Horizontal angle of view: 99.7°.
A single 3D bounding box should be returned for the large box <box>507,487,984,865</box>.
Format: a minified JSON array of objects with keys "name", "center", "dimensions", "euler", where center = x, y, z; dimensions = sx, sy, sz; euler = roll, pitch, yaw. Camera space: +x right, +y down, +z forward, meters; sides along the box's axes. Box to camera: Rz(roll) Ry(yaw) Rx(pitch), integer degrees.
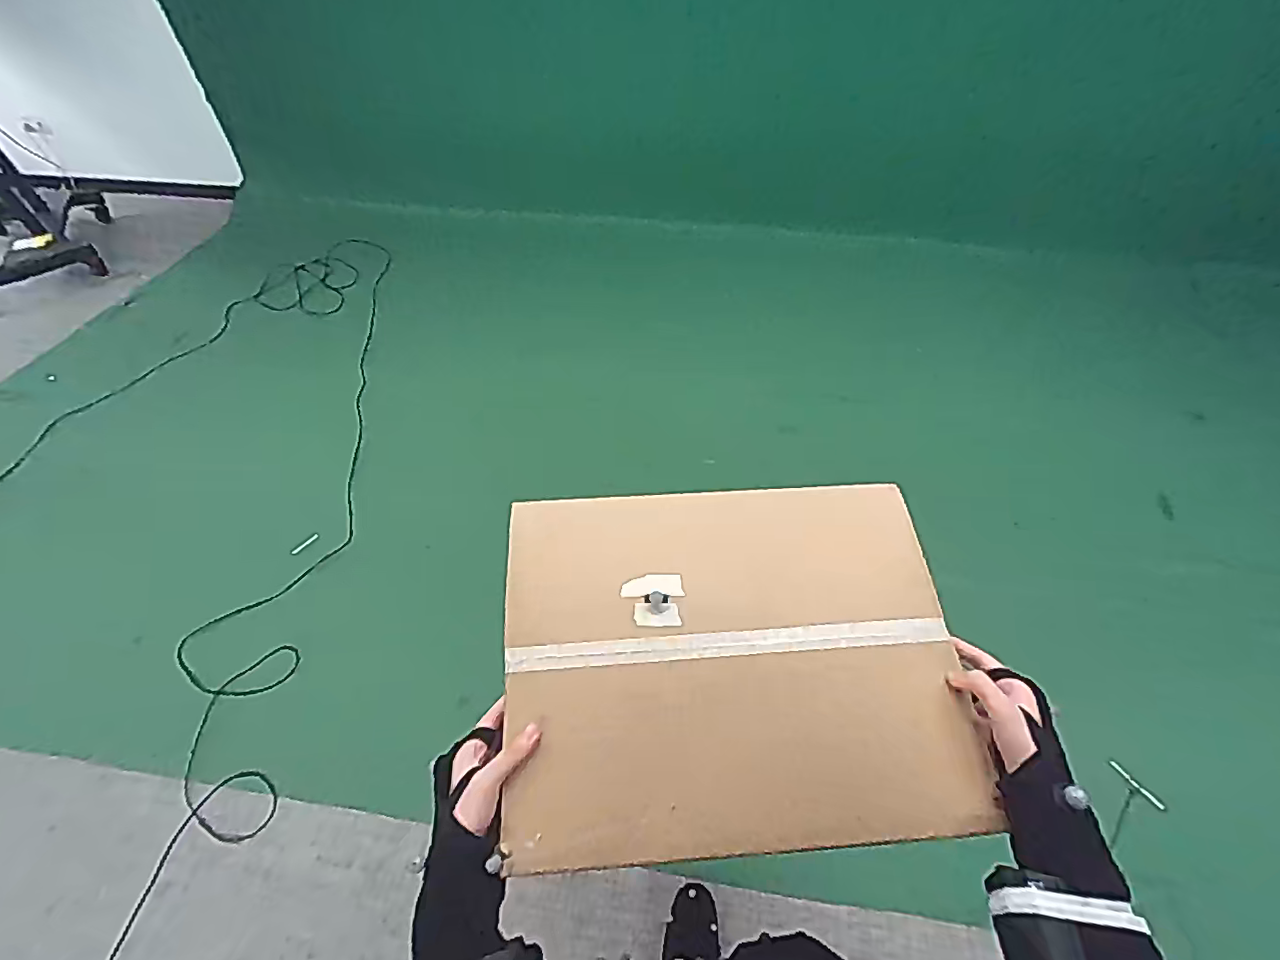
[{"name":"large box","center":[0.080,0.223,0.638],"dimensions":[0.408,0.320,0.320],"euler":[-3,62,-2]}]
